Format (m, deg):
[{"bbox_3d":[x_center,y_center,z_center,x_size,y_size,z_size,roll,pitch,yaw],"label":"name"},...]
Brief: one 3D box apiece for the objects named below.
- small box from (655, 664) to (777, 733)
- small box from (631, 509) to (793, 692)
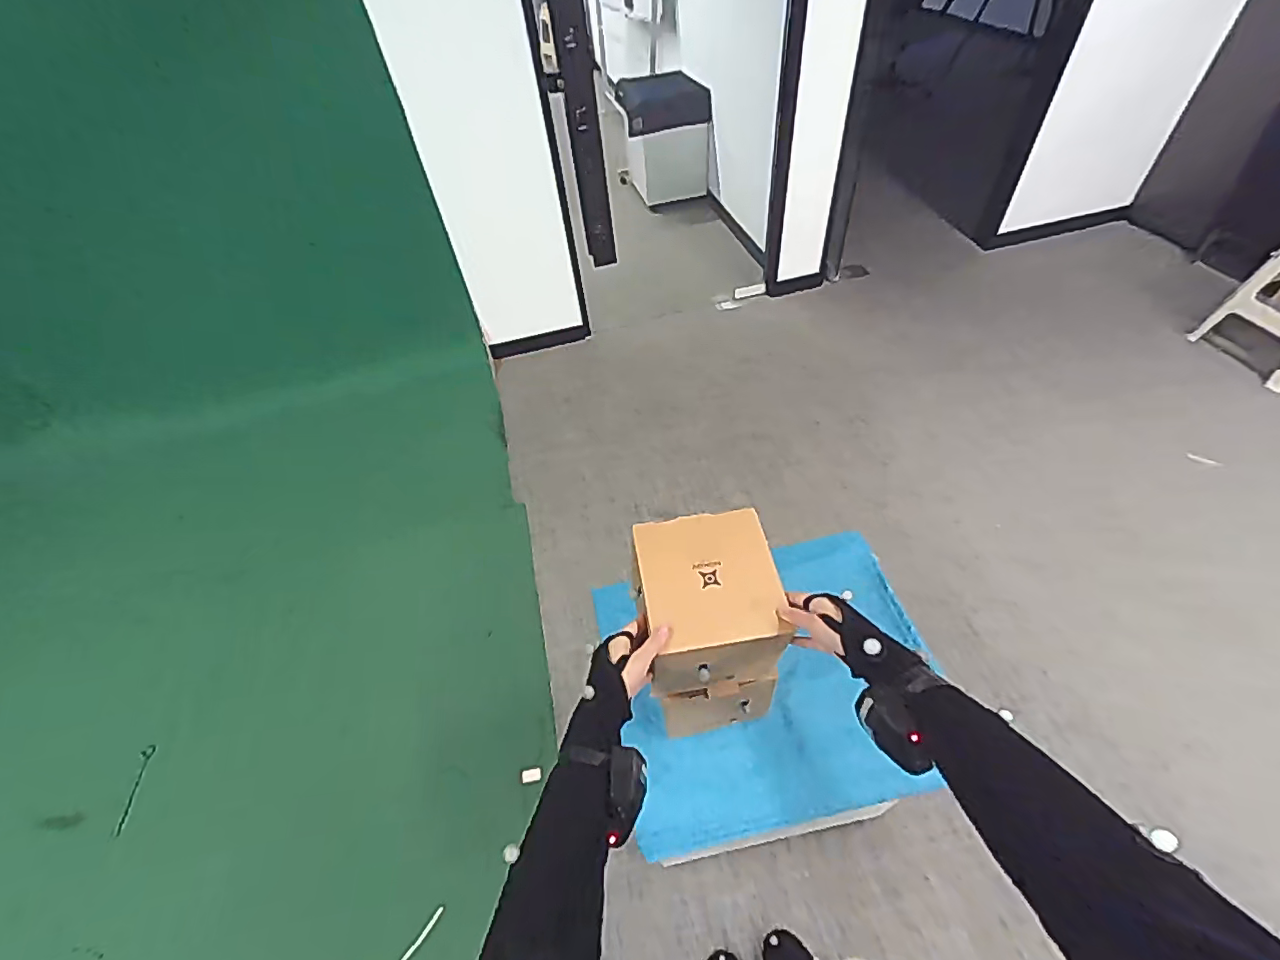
[{"bbox_3d":[0.102,0.276,0.845,0.168,0.176,0.179,-11,47,-4],"label":"small box"},{"bbox_3d":[0.083,0.164,0.709,0.168,0.176,0.179,-7,52,-5],"label":"small box"}]
